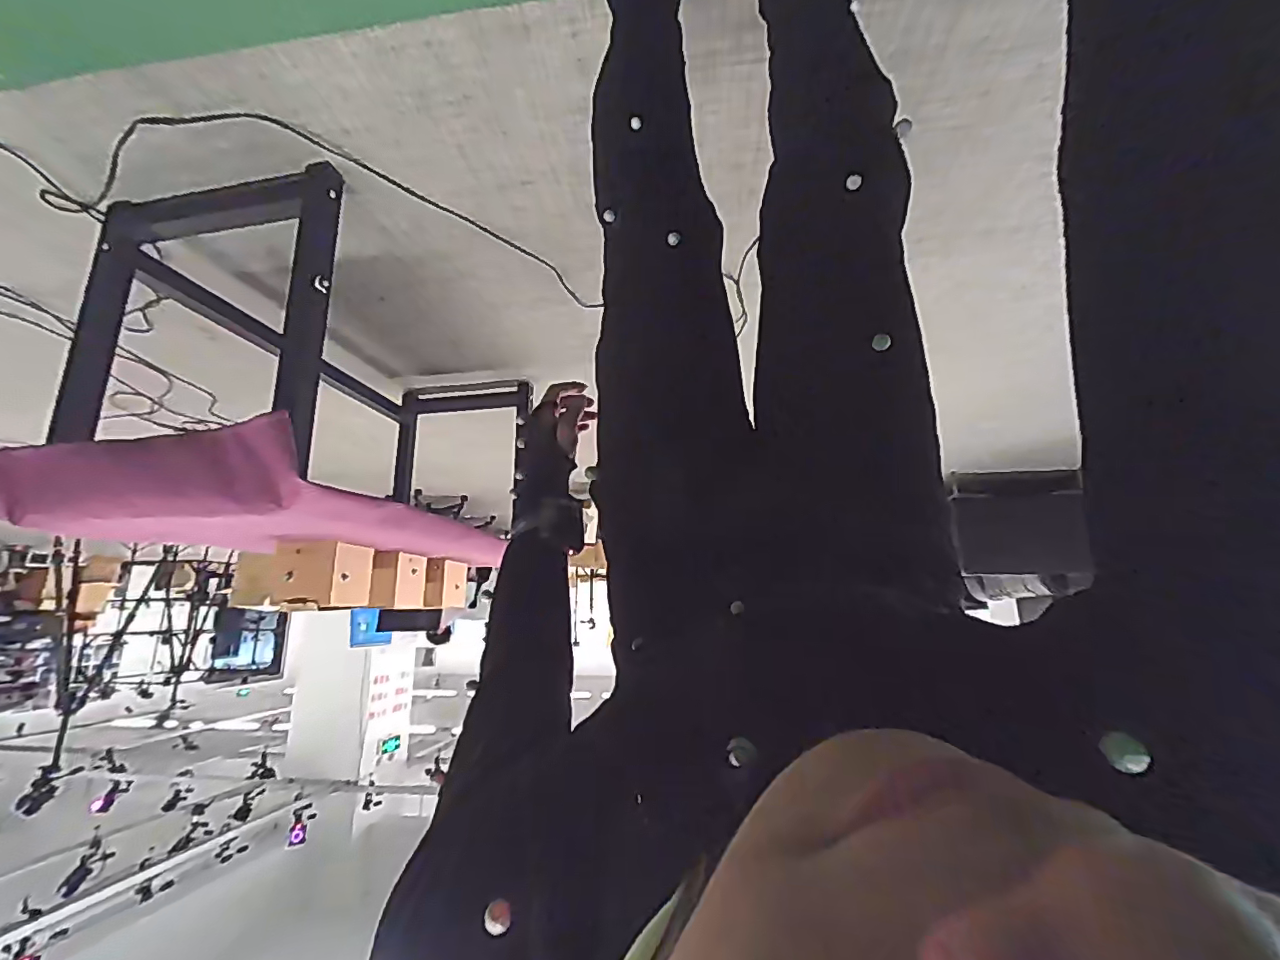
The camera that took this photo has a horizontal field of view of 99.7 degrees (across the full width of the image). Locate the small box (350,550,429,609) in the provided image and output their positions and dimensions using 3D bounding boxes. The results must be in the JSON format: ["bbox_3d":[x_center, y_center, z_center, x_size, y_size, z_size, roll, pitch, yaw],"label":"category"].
[{"bbox_3d":[-0.789,0.316,1.705,0.179,0.176,0.168,-3,167,8],"label":"small box"}]

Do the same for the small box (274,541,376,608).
[{"bbox_3d":[-0.834,0.253,1.446,0.168,0.176,0.179,-1,167,5],"label":"small box"}]

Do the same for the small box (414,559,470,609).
[{"bbox_3d":[-0.727,0.374,1.947,0.168,0.176,0.179,-2,167,9],"label":"small box"}]
